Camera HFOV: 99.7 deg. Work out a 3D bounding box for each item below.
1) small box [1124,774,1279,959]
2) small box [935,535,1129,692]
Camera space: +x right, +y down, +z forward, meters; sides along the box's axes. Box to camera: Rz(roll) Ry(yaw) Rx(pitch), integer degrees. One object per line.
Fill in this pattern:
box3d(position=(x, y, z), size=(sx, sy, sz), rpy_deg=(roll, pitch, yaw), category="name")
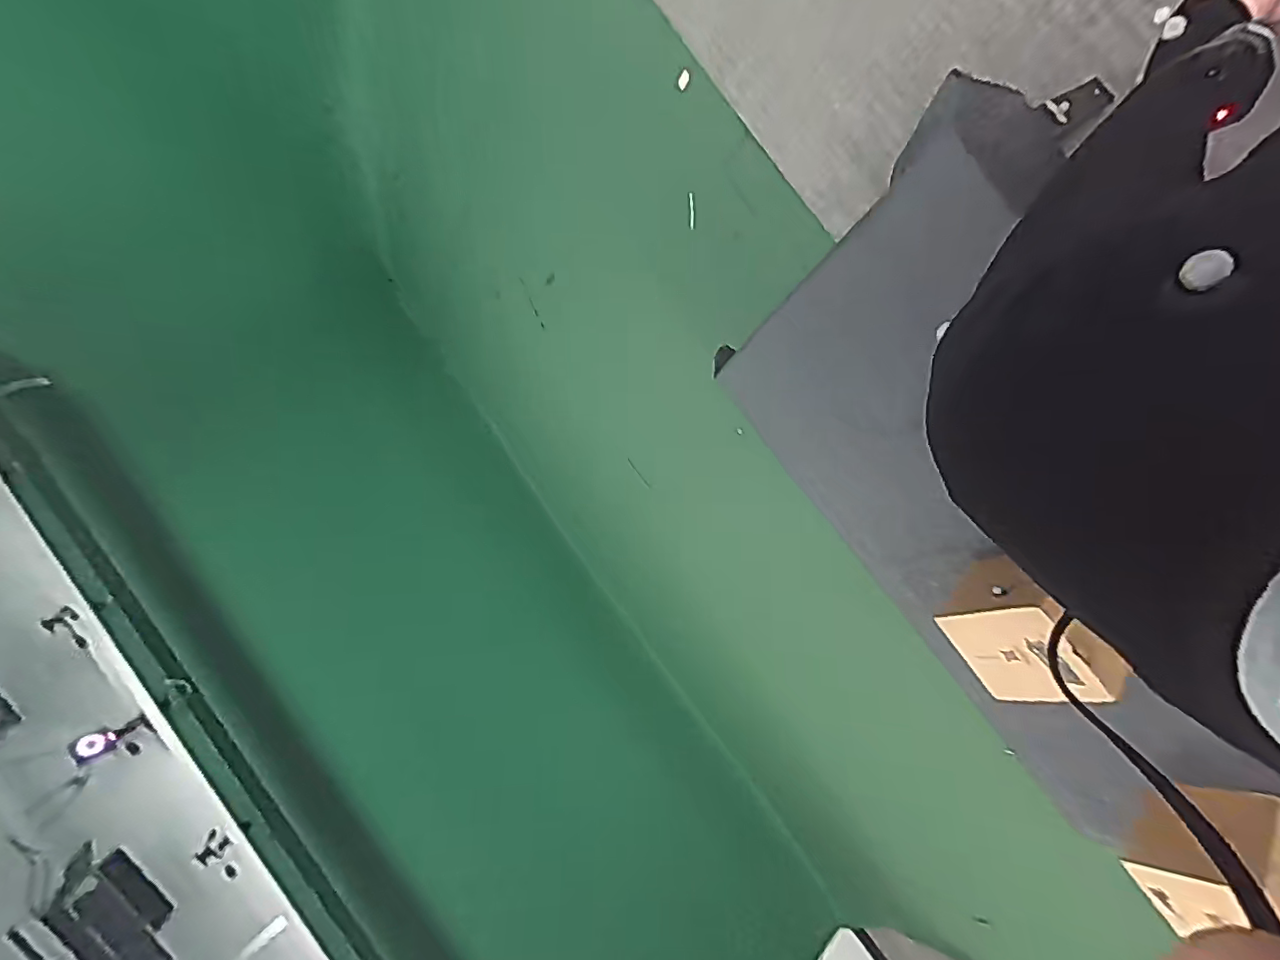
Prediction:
box3d(position=(0.908, 0.583, 0.828), size=(0.168, 0.176, 0.179), rpy_deg=(53, 149, 4), category="small box")
box3d(position=(0.618, 0.208, 0.850), size=(0.168, 0.176, 0.179), rpy_deg=(53, 151, 2), category="small box")
